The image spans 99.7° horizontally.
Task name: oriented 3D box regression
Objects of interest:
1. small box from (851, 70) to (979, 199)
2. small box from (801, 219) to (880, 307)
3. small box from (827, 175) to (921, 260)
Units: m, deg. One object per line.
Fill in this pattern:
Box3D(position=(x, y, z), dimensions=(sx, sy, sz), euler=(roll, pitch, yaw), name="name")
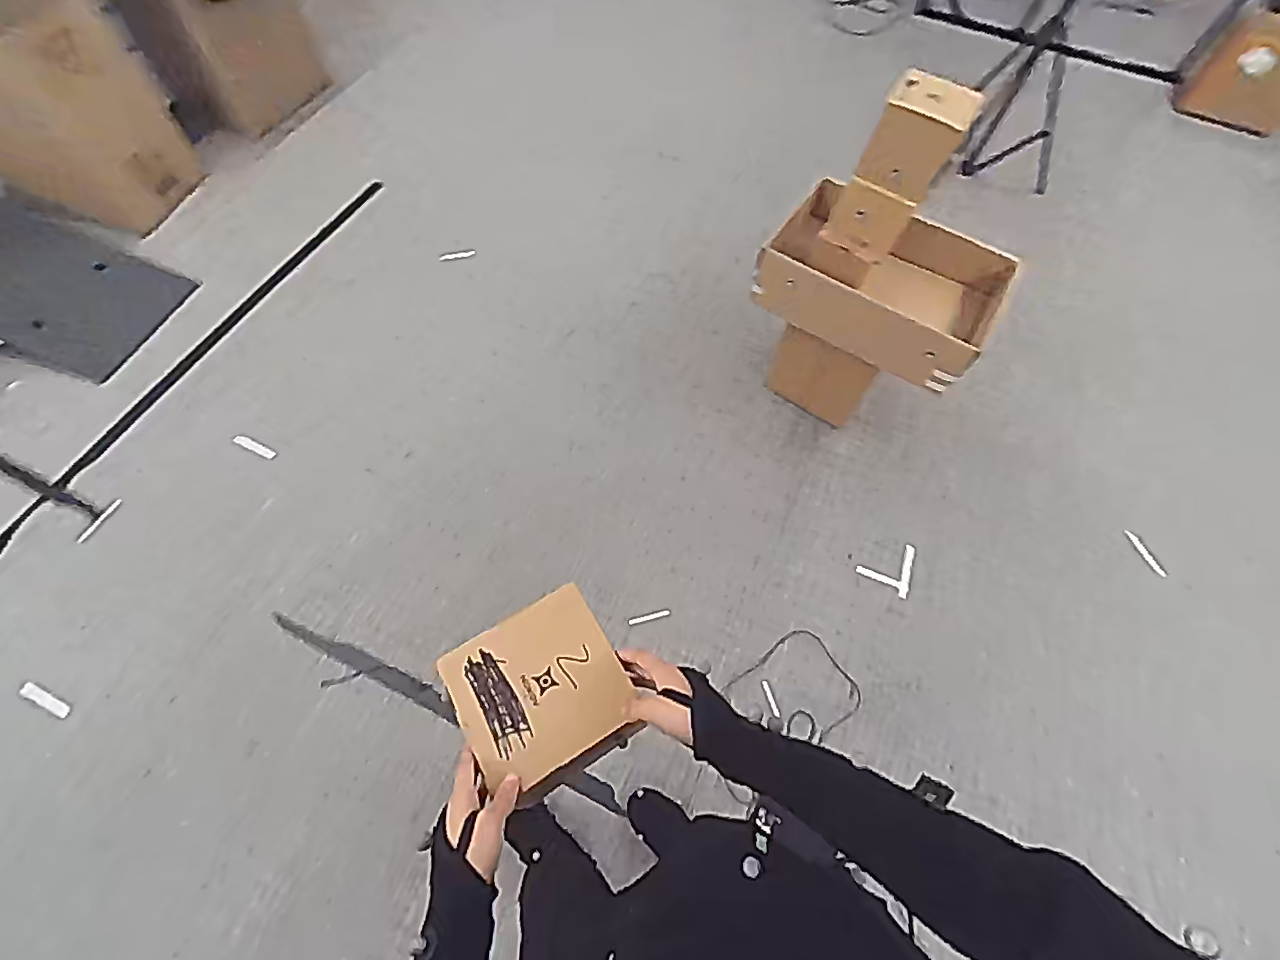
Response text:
Box3D(position=(0.619, -0.777, 1.232), dimensions=(0.179, 0.176, 0.168), euler=(30, 64, 9), name="small box")
Box3D(position=(0.575, -0.624, 1.518), dimensions=(0.168, 0.176, 0.179), euler=(35, 66, 12), name="small box")
Box3D(position=(0.601, -0.698, 1.375), dimensions=(0.168, 0.176, 0.179), euler=(31, 65, 10), name="small box")
